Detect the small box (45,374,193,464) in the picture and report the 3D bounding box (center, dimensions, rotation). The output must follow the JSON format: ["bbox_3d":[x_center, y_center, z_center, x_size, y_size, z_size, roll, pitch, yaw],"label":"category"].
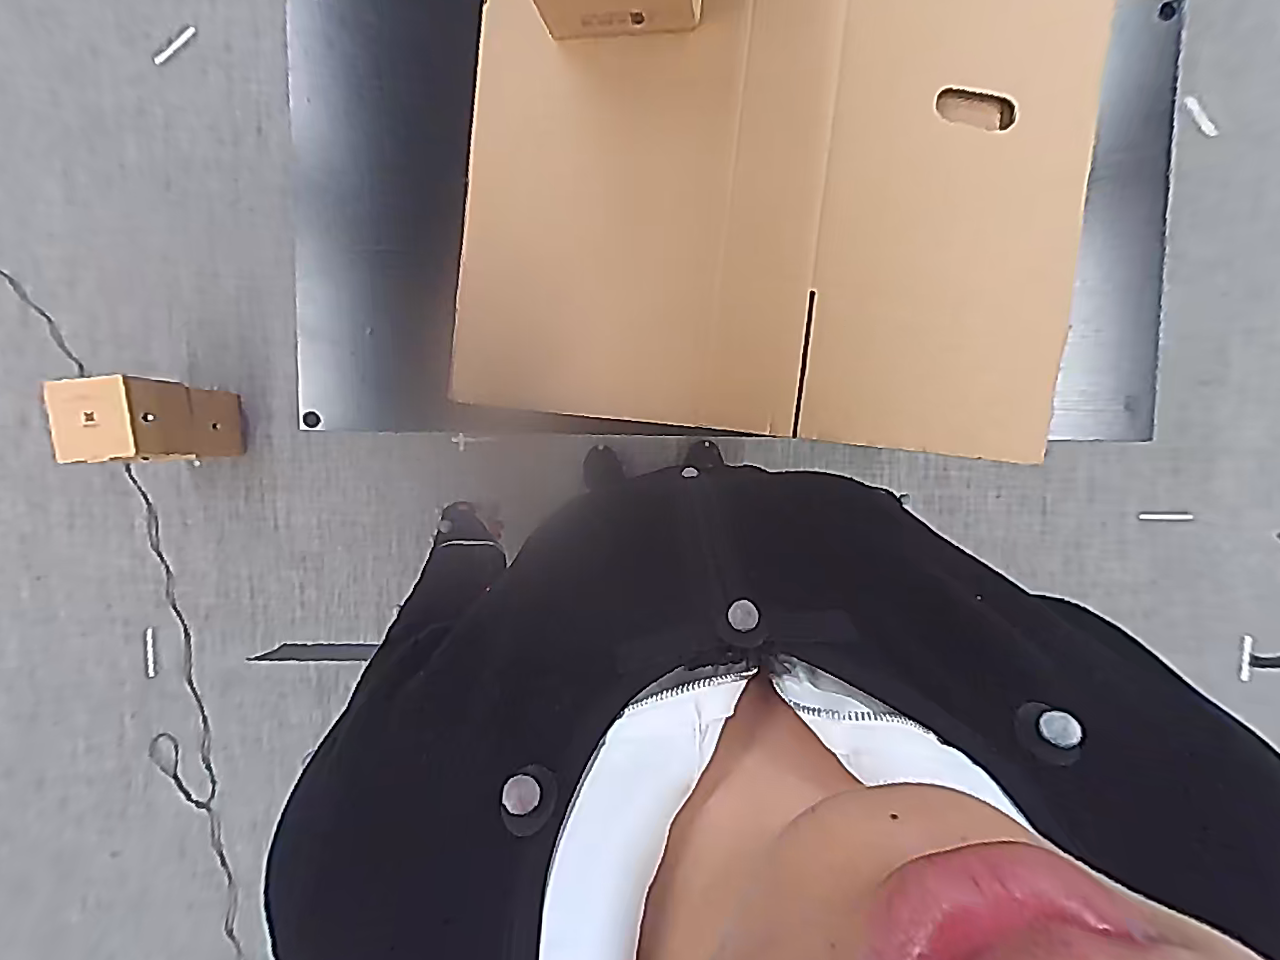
[{"bbox_3d":[-1.153,-0.134,1.214,0.168,0.176,0.179,-7,93,-2],"label":"small box"}]

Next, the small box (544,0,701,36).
[{"bbox_3d":[-0.026,-0.558,0.491,0.168,0.176,0.179,7,93,13],"label":"small box"}]

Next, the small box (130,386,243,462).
[{"bbox_3d":[-1.156,-0.139,1.377,0.168,0.176,0.179,-3,95,-1],"label":"small box"}]
